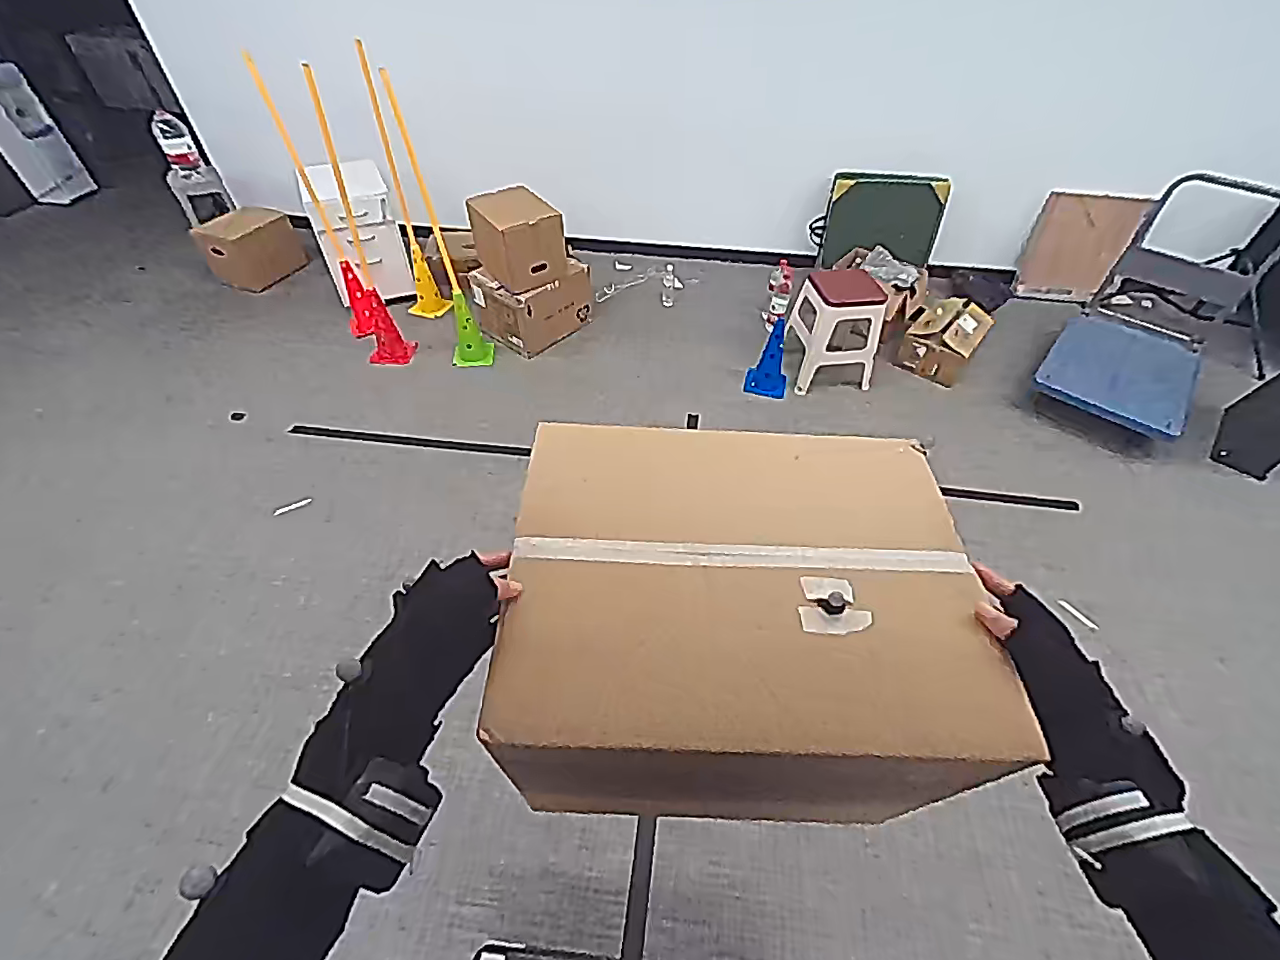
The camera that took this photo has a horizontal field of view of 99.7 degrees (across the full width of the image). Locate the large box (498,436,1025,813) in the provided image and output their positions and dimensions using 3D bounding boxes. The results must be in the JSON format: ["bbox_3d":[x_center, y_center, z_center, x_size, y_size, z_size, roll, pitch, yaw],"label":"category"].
[{"bbox_3d":[0.085,0.169,0.605,0.408,0.320,0.320,2,51,-2],"label":"large box"}]
